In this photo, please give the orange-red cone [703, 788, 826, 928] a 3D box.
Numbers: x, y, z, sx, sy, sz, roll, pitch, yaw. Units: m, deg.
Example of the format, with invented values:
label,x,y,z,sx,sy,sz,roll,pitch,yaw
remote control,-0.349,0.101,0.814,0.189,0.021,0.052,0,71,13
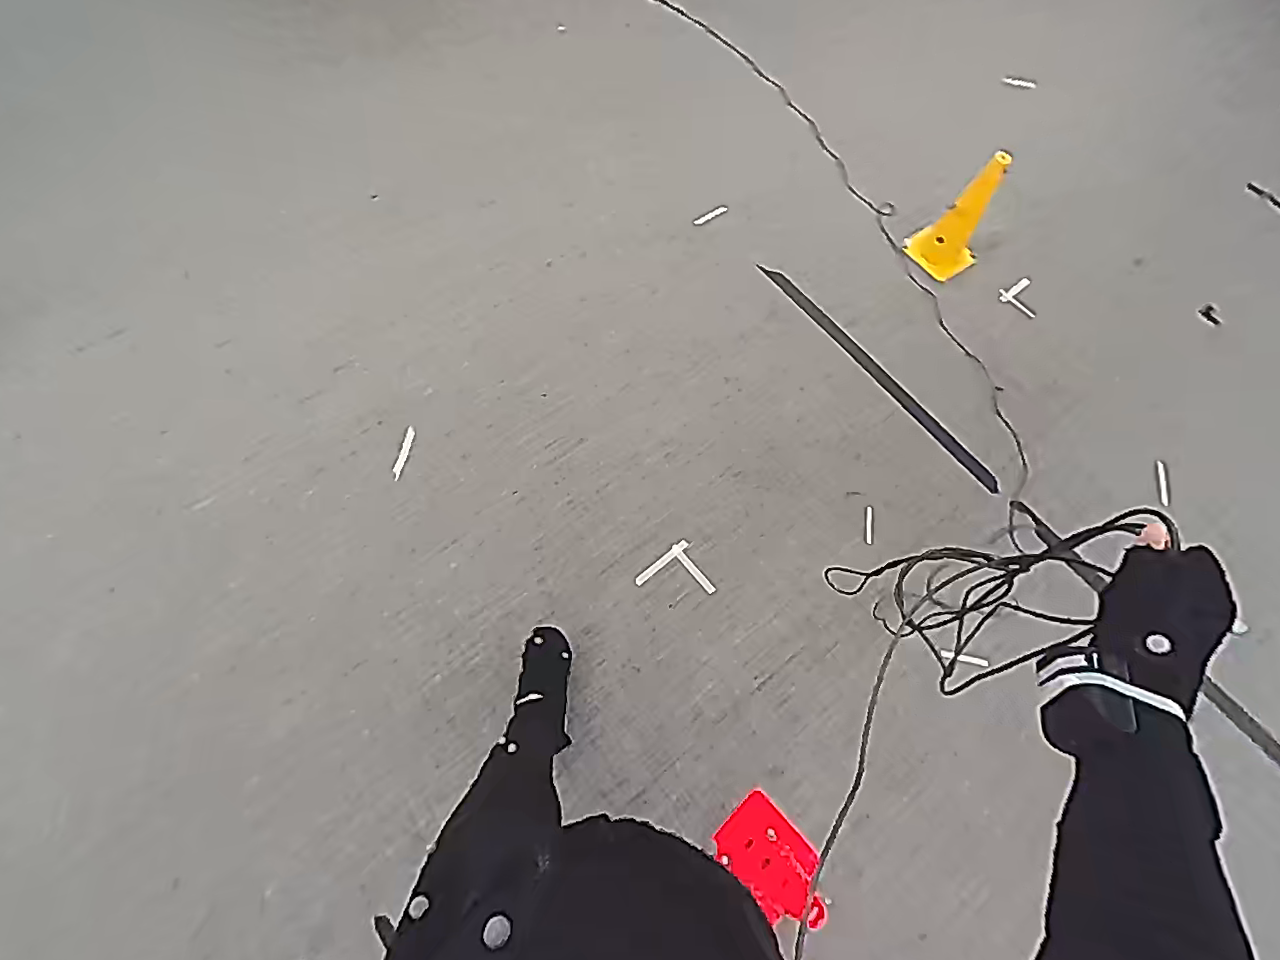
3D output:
label,x,y,z,sx,sy,sz,roll,pitch,yaw
orange-red cone,0.268,0.746,1.008,0.198,0.360,0.199,-39,75,-16
